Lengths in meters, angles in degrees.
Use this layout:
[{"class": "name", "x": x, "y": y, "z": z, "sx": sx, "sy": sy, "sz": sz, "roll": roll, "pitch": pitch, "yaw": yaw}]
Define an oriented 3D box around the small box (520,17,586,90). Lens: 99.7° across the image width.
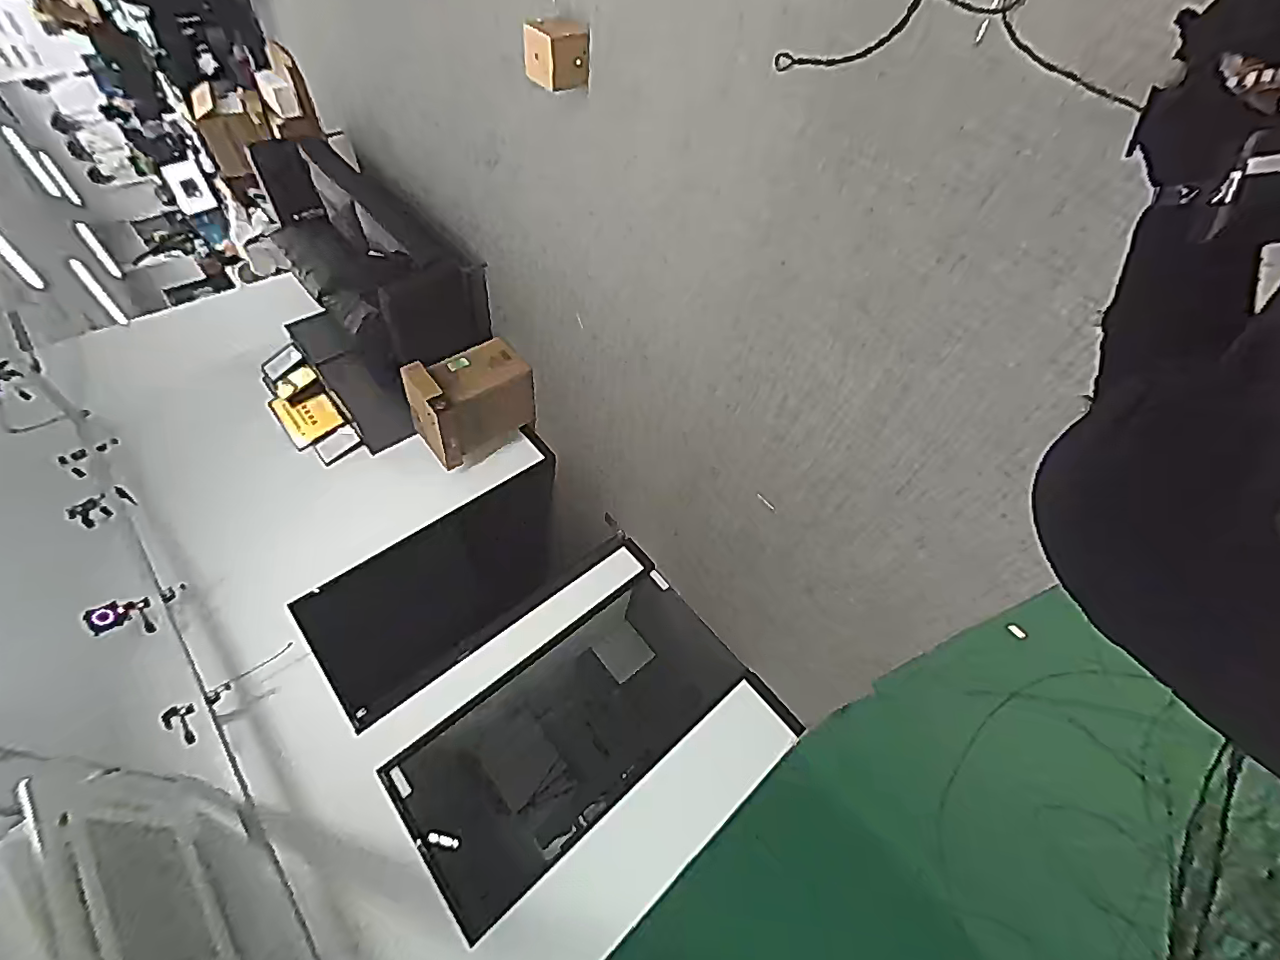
[{"class": "small box", "x": -0.316, "y": -1.557, "z": 1.968, "sx": 0.179, "sy": 0.176, "sz": 0.168, "roll": 45, "pitch": 152, "yaw": 22}]
